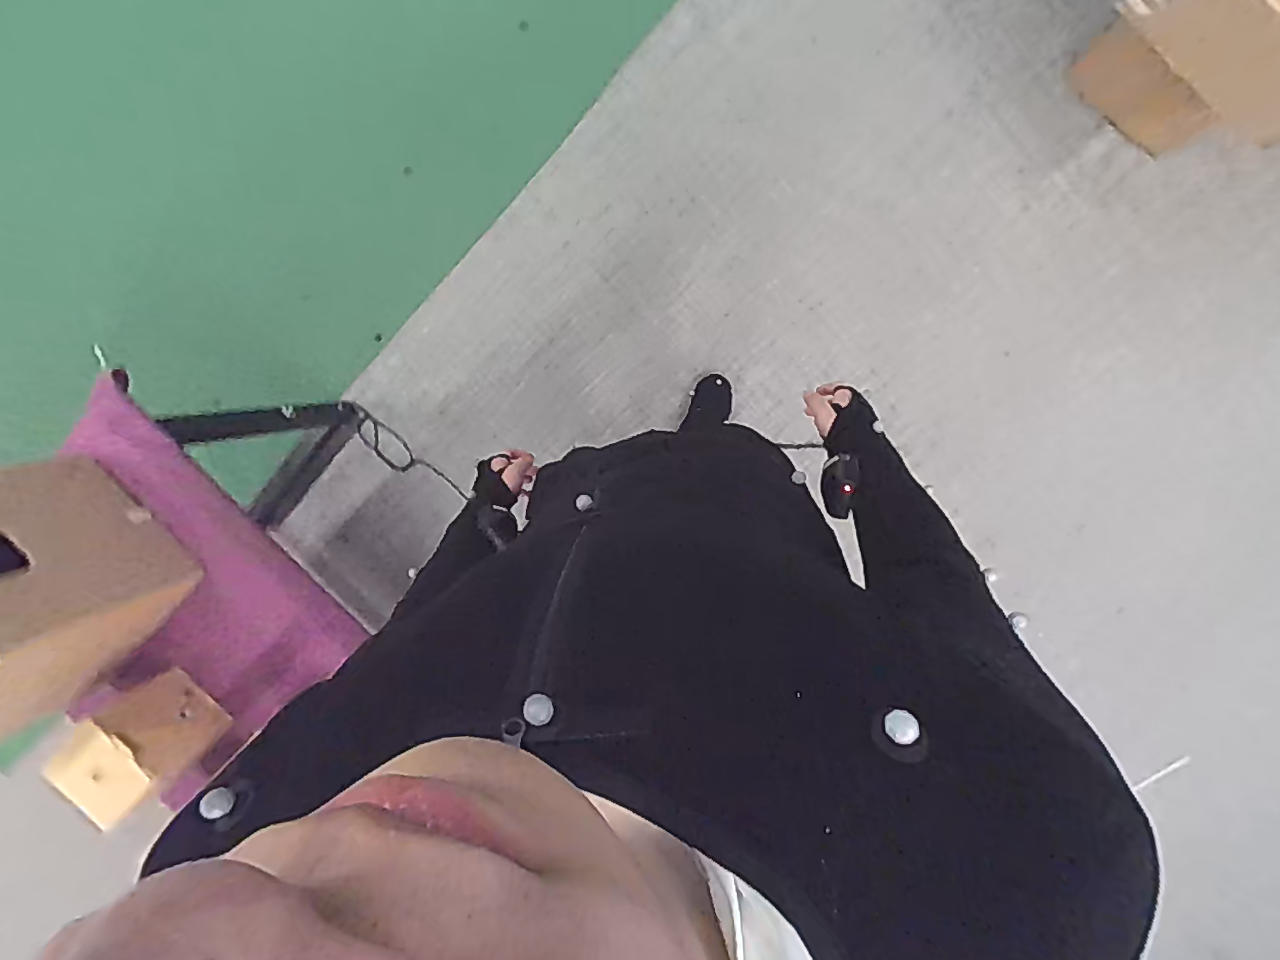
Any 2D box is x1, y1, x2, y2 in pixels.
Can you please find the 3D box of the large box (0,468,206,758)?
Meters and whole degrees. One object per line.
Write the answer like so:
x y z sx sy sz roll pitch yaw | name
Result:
-1.078 0.241 0.918 0.408 0.320 0.320 -43 94 13 | large box
